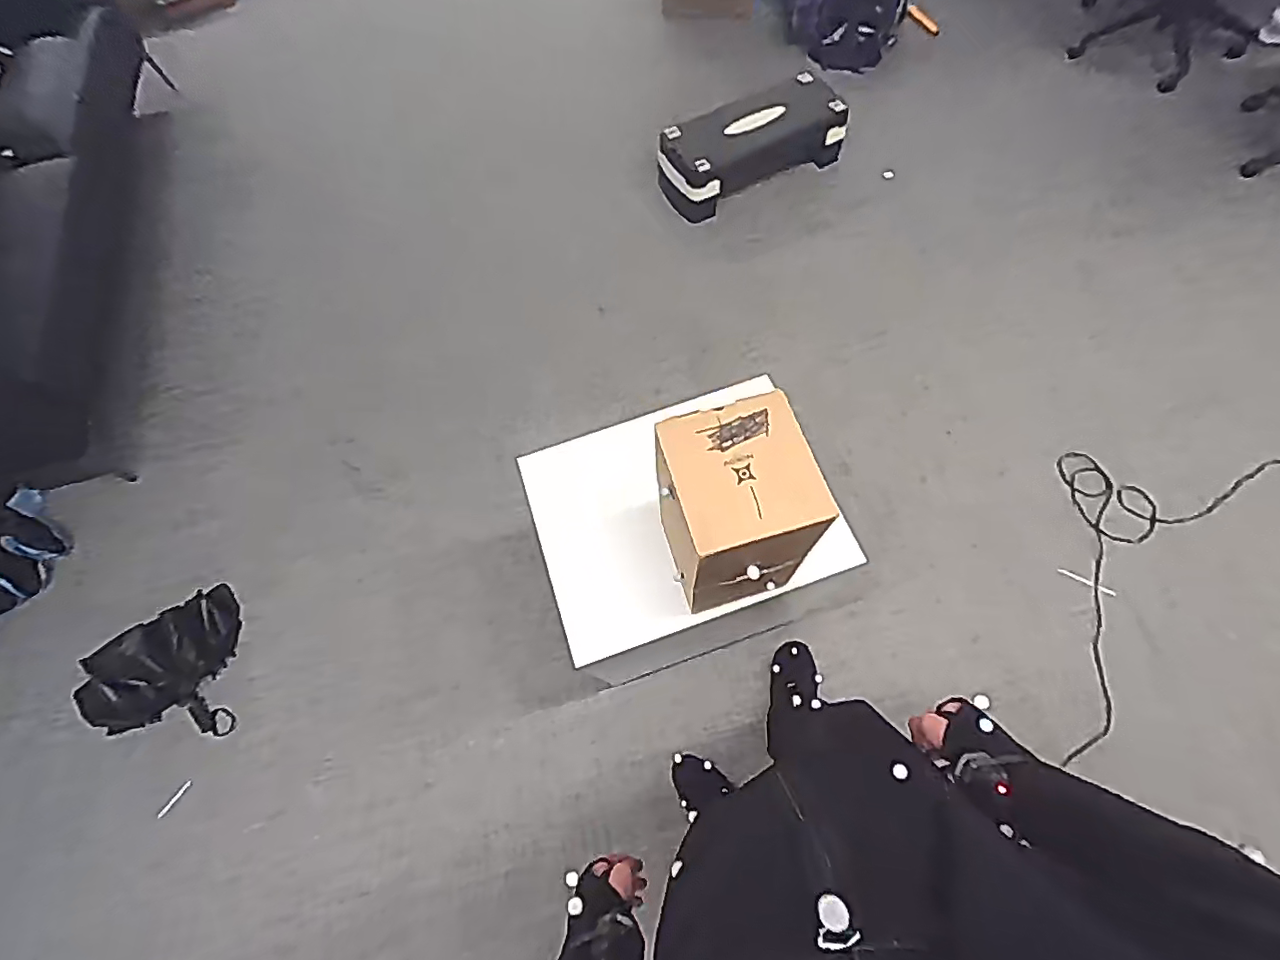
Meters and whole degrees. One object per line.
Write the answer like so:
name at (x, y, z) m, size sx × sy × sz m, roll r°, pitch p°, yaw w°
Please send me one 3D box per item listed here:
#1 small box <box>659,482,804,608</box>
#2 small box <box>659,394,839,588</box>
small box at (0.134, 0.090, 0.846) m, size 0.168 × 0.176 × 0.179 m, roll -16°, pitch 64°, yaw -4°
small box at (0.124, 0.021, 0.697) m, size 0.168 × 0.176 × 0.179 m, roll -15°, pitch 66°, yaw -3°
